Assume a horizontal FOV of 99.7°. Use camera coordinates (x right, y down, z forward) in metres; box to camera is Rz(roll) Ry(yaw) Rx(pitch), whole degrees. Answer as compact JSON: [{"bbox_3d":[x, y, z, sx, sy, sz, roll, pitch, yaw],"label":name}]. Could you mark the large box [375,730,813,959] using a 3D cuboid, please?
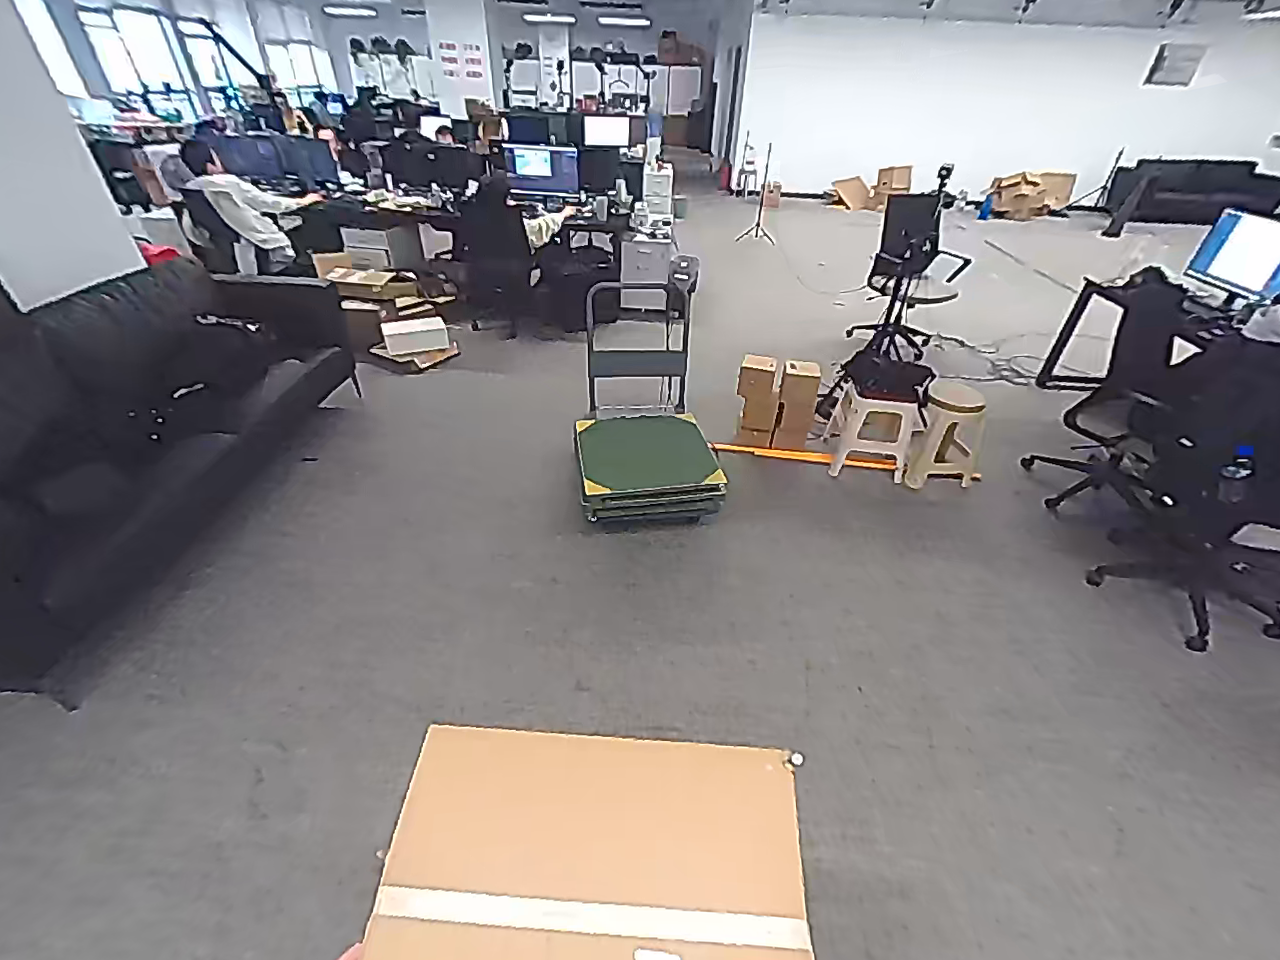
[{"bbox_3d":[-0.042,0.504,0.622,0.408,0.320,0.320,3,50,2],"label":"large box"}]
